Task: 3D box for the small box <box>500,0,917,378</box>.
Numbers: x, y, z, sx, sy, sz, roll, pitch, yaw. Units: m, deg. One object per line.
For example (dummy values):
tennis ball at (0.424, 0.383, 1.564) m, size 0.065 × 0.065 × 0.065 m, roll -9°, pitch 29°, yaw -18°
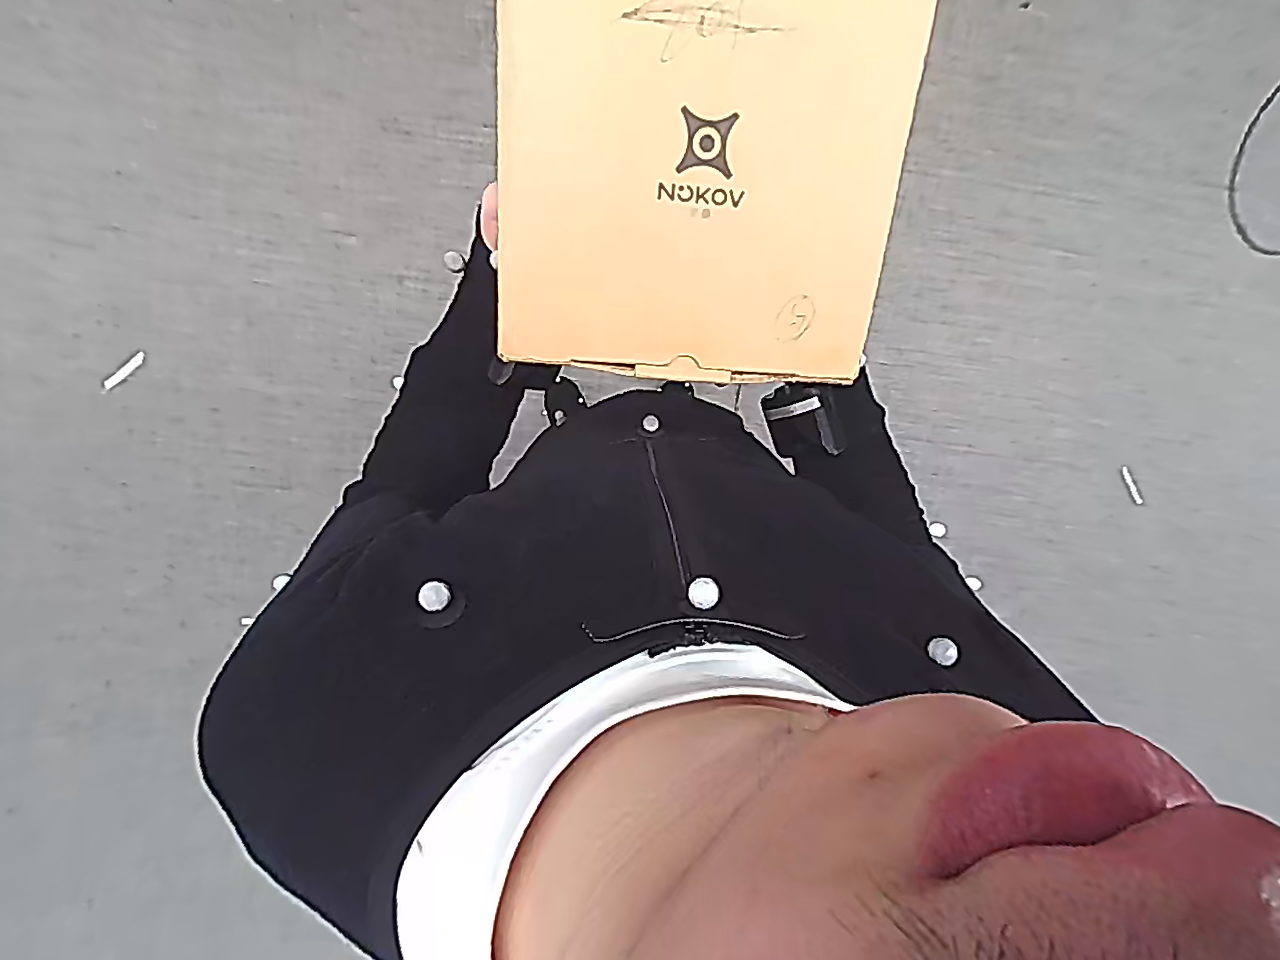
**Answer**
small box at (0.018, -0.161, 0.304) m, size 0.168 × 0.176 × 0.179 m, roll 2°, pitch 108°, yaw -6°
